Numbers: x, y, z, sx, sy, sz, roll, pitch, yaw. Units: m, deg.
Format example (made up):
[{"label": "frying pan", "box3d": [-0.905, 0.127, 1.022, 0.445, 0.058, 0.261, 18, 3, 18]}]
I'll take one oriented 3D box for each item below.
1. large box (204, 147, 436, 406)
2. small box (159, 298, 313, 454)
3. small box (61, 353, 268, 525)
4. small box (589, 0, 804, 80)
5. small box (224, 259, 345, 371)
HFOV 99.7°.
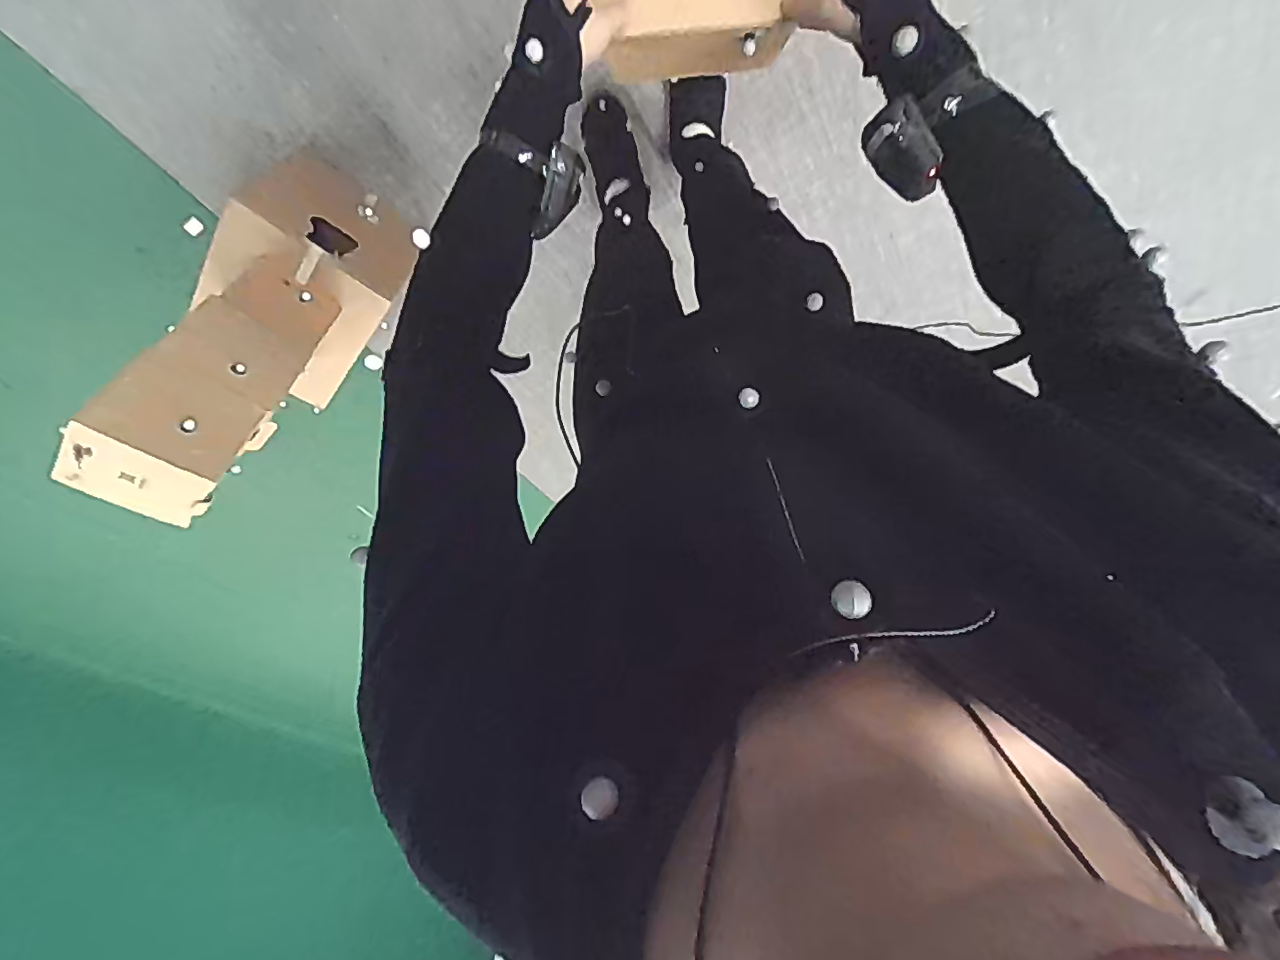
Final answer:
[{"label": "large box", "box3d": [-0.738, -0.461, 1.263, 0.320, 0.320, 0.408, 33, 129, -28]}, {"label": "small box", "box3d": [-0.724, -0.184, 0.960, 0.168, 0.176, 0.179, -32, 128, 30]}, {"label": "small box", "box3d": [-0.731, -0.064, 0.849, 0.168, 0.176, 0.179, -33, 129, 31]}, {"label": "small box", "box3d": [0.048, -0.480, 0.480, 0.179, 0.176, 0.168, -2, 115, 5]}, {"label": "small box", "box3d": [-0.725, -0.297, 1.080, 0.179, 0.176, 0.168, -34, 128, 31]}]
